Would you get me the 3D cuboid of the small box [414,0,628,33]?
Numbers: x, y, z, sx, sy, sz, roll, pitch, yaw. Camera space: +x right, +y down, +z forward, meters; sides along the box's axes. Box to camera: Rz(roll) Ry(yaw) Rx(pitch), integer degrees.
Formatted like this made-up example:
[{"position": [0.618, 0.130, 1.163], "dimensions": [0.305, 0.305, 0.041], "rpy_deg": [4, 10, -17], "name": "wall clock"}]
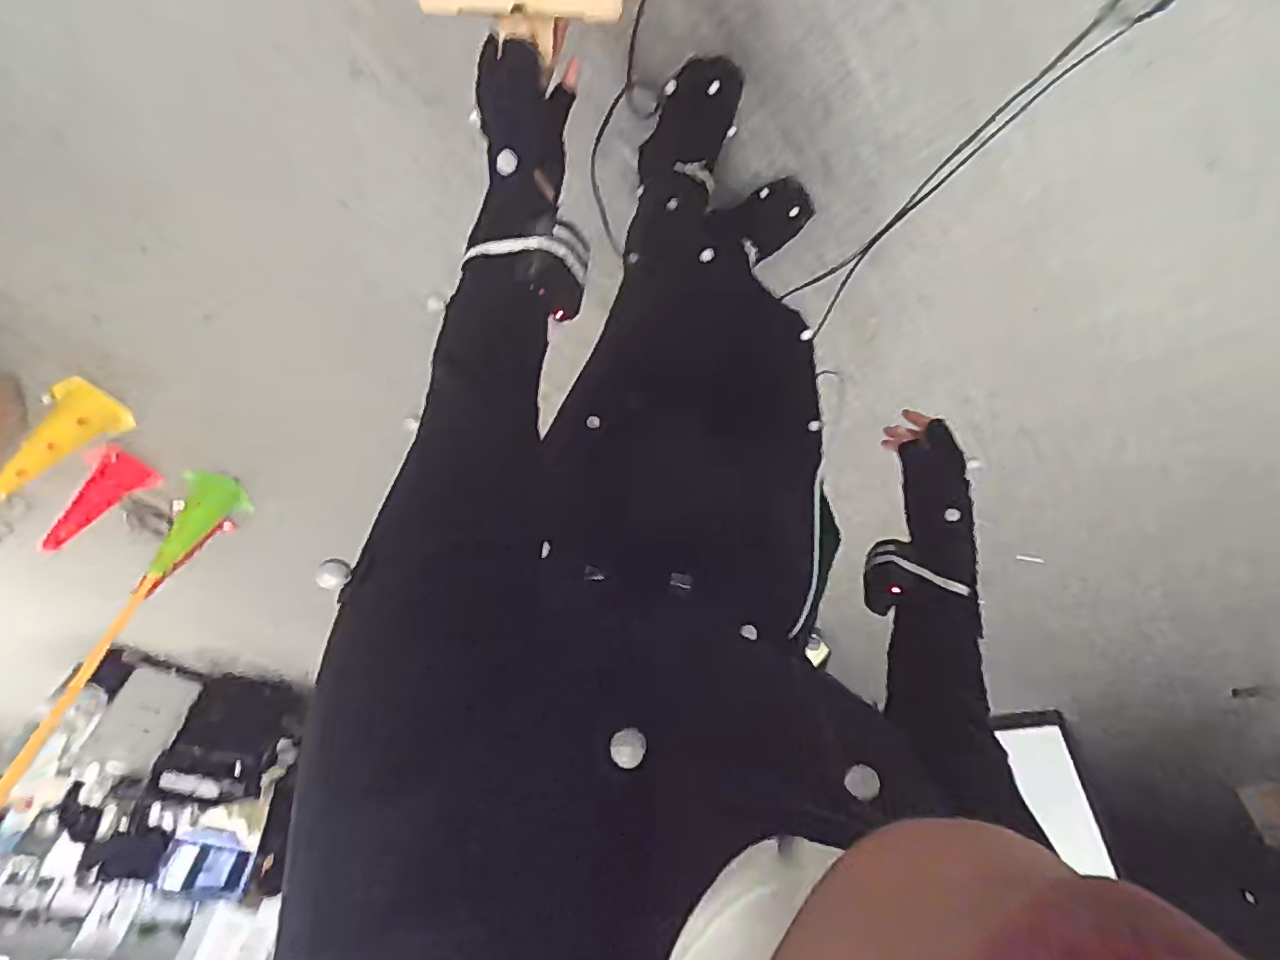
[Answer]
[{"position": [-0.087, -0.480, 0.420], "dimensions": [0.168, 0.176, 0.179], "rpy_deg": [4, 137, 1], "name": "small box"}]
